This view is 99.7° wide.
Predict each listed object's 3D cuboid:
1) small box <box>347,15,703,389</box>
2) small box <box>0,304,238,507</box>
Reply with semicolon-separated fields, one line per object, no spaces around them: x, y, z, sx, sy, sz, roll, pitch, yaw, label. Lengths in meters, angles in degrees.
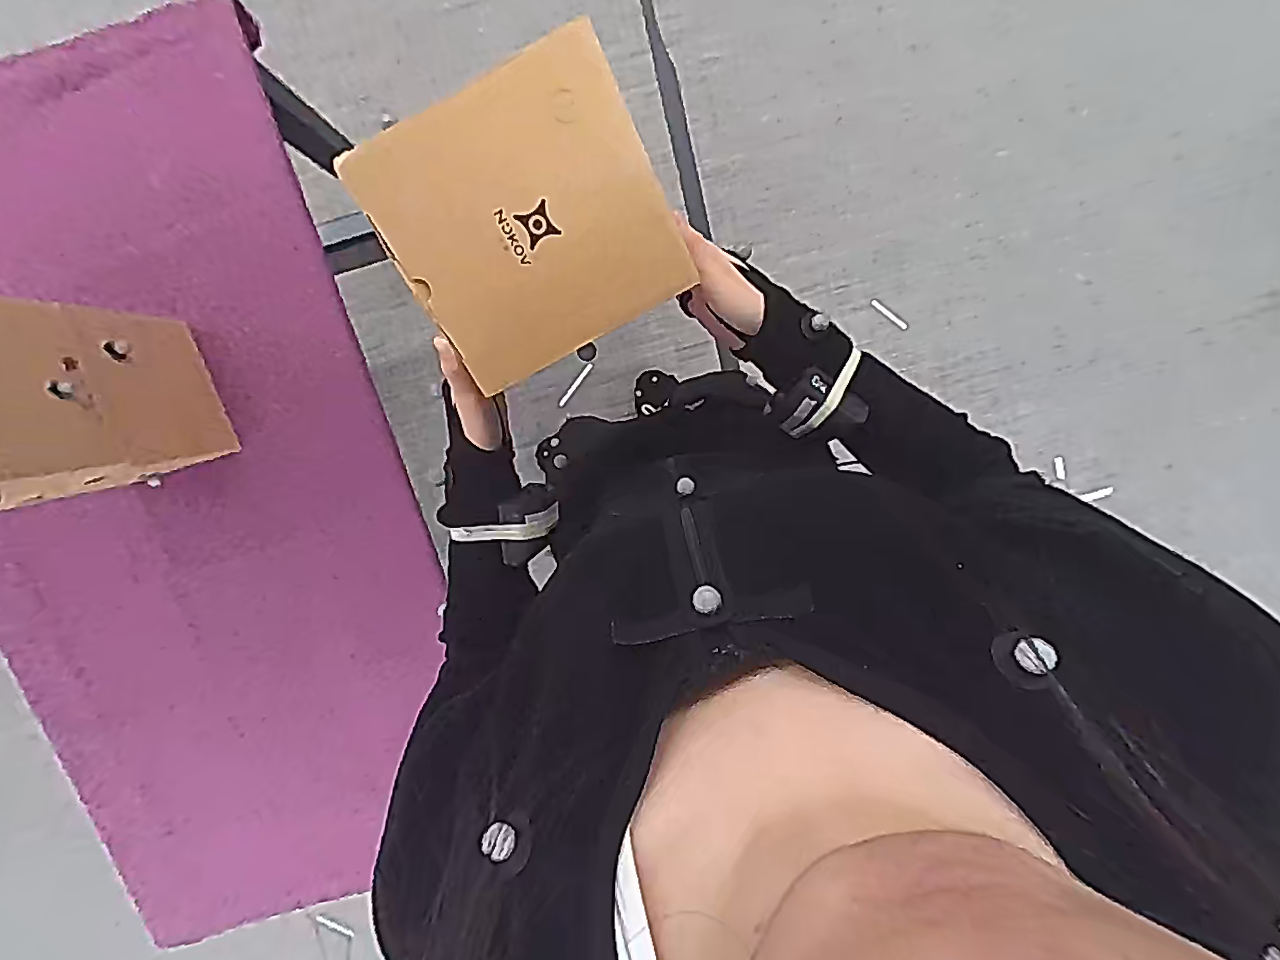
-0.077;-0.199;0.421;0.179;0.176;0.168;-27;115;5;small box
-0.632;-0.087;0.634;0.168;0.176;0.179;-17;101;2;small box
